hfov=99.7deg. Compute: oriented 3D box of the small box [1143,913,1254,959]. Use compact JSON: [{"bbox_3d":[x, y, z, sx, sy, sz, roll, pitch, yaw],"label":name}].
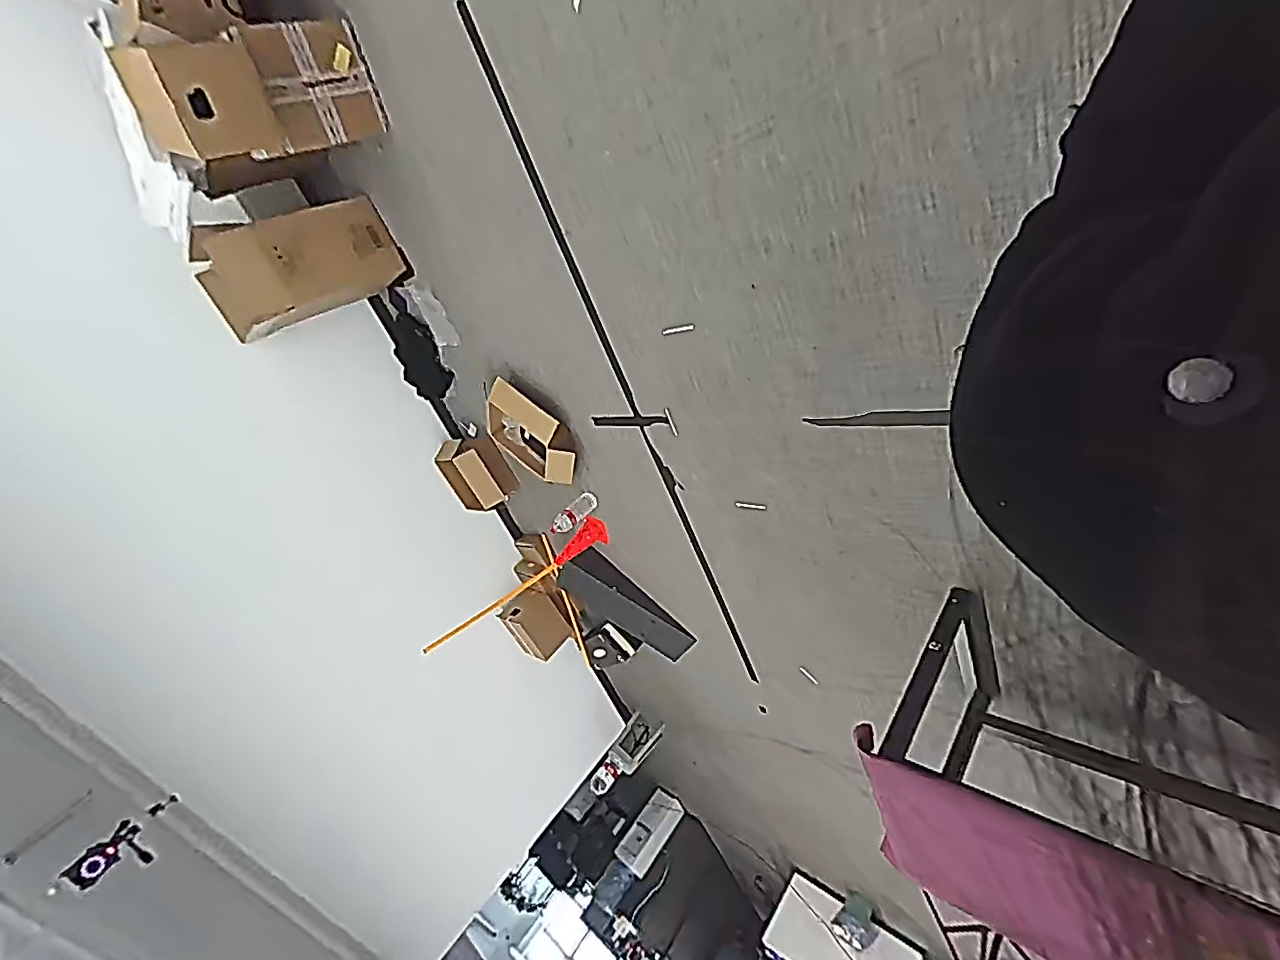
[{"bbox_3d":[1.061,0.982,1.019,0.168,0.176,0.179,7,130,45],"label":"small box"}]
